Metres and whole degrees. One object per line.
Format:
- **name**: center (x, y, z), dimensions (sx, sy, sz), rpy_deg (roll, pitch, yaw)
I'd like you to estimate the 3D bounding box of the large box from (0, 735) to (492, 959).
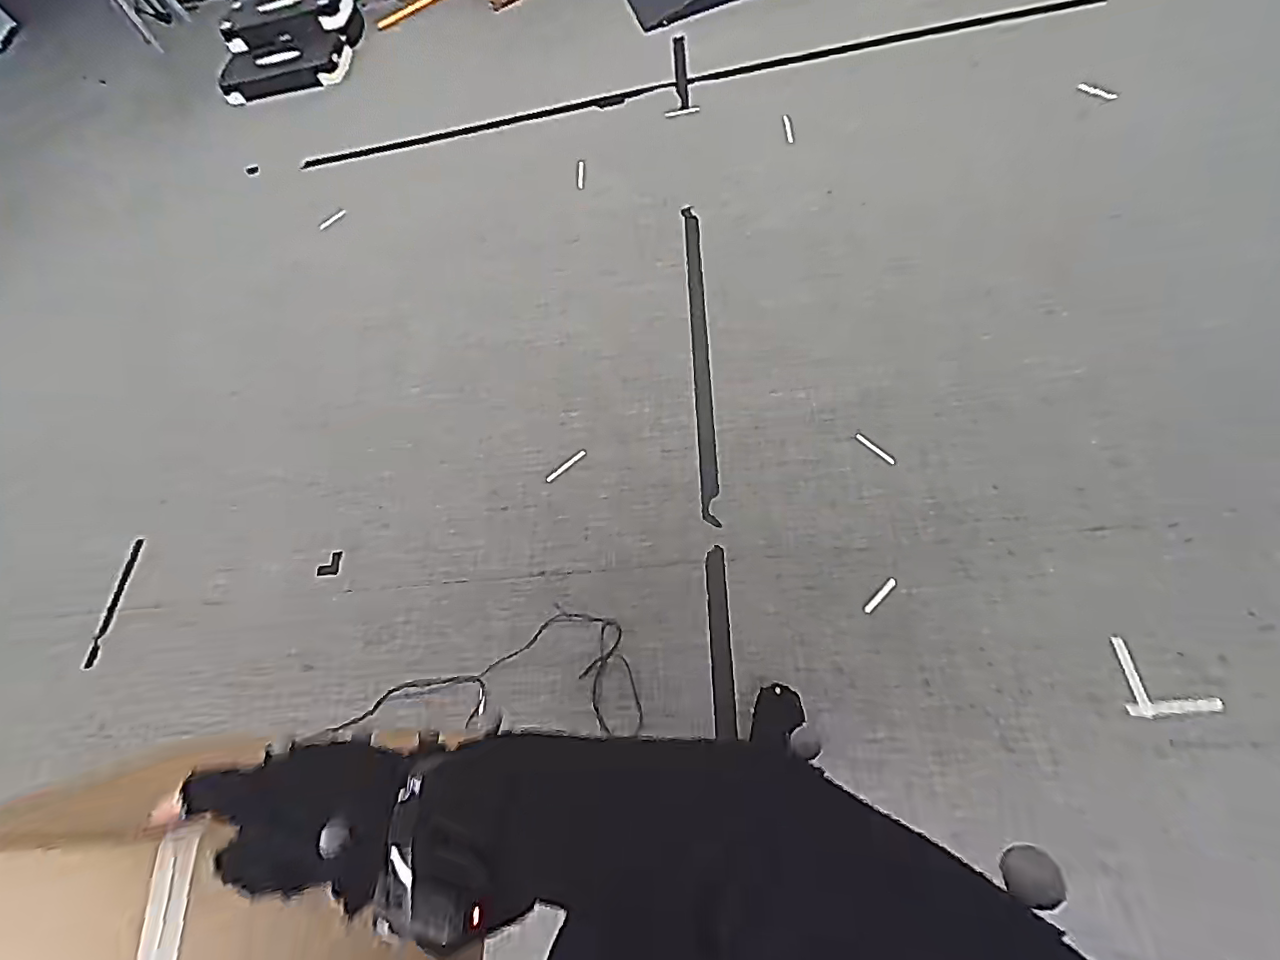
- **large box**: center (-0.295, 0.454, 0.437), dimensions (0.320, 0.320, 0.408), rpy_deg (1, 73, -11)
